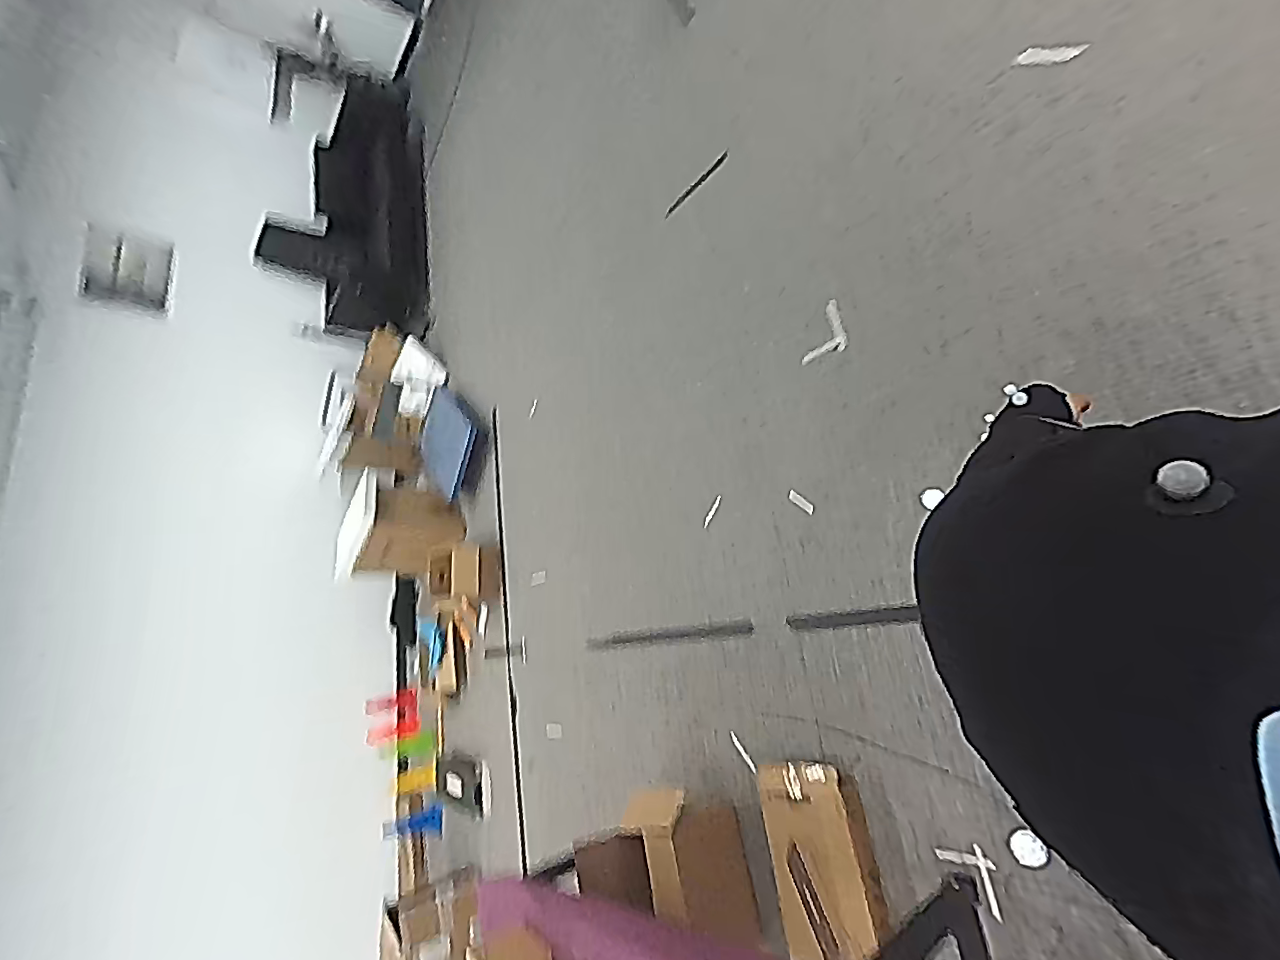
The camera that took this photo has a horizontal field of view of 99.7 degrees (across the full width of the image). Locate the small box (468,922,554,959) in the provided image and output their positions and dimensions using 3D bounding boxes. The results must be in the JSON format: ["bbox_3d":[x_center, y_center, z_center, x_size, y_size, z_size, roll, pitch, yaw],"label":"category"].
[{"bbox_3d":[-0.336,1.313,1.419,0.179,0.176,0.168,-17,72,49],"label":"small box"}]
